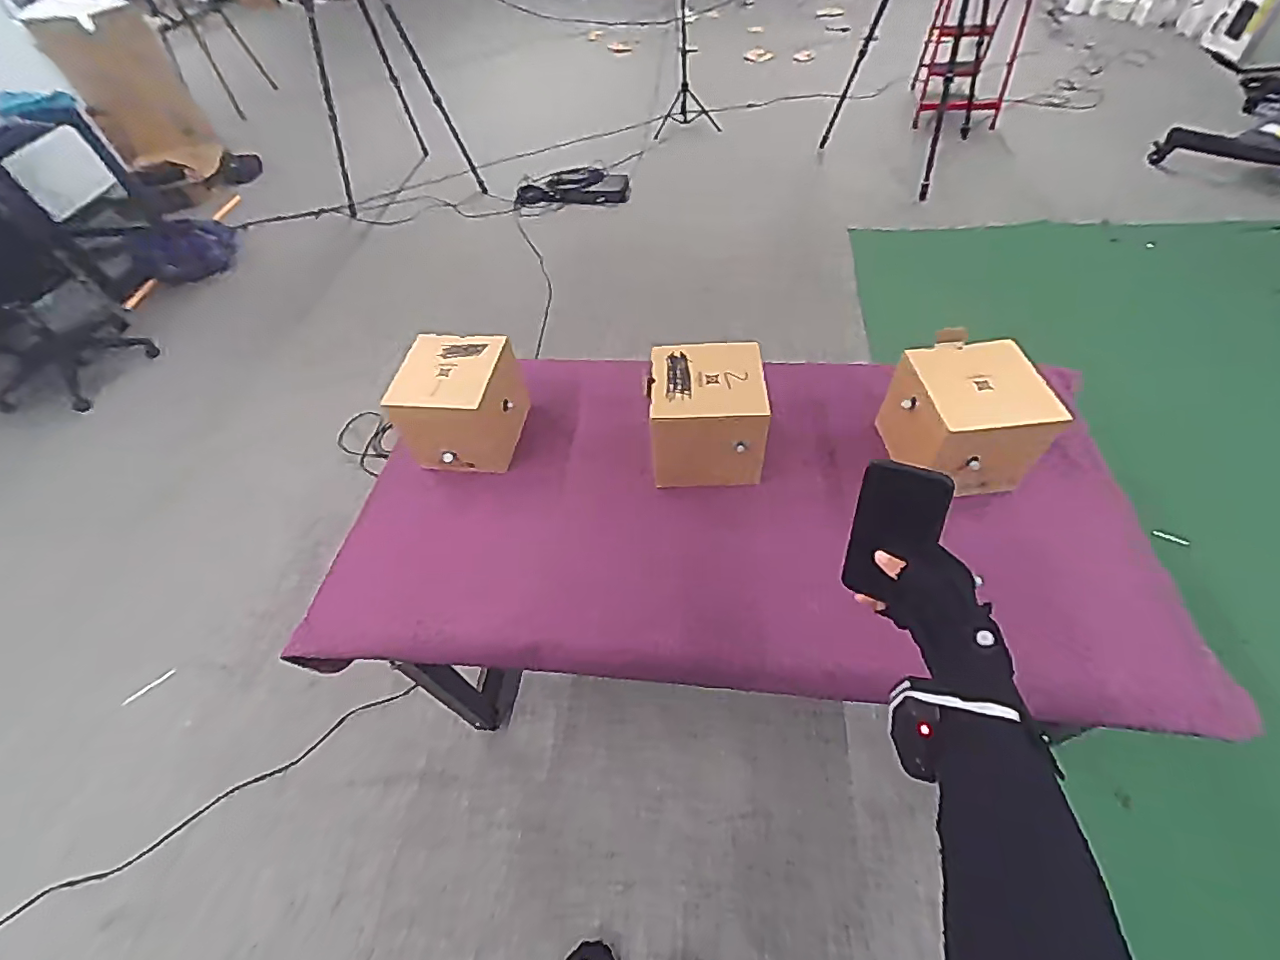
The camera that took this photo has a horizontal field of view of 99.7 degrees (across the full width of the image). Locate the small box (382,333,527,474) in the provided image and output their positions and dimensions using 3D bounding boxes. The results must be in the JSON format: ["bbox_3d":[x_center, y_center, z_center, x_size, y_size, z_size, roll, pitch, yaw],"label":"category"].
[{"bbox_3d":[-0.309,-0.133,0.948,0.168,0.176,0.179,4,54,8],"label":"small box"}]

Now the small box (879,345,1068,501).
[{"bbox_3d":[0.496,-0.080,0.838,0.168,0.176,0.179,-5,51,2],"label":"small box"}]
